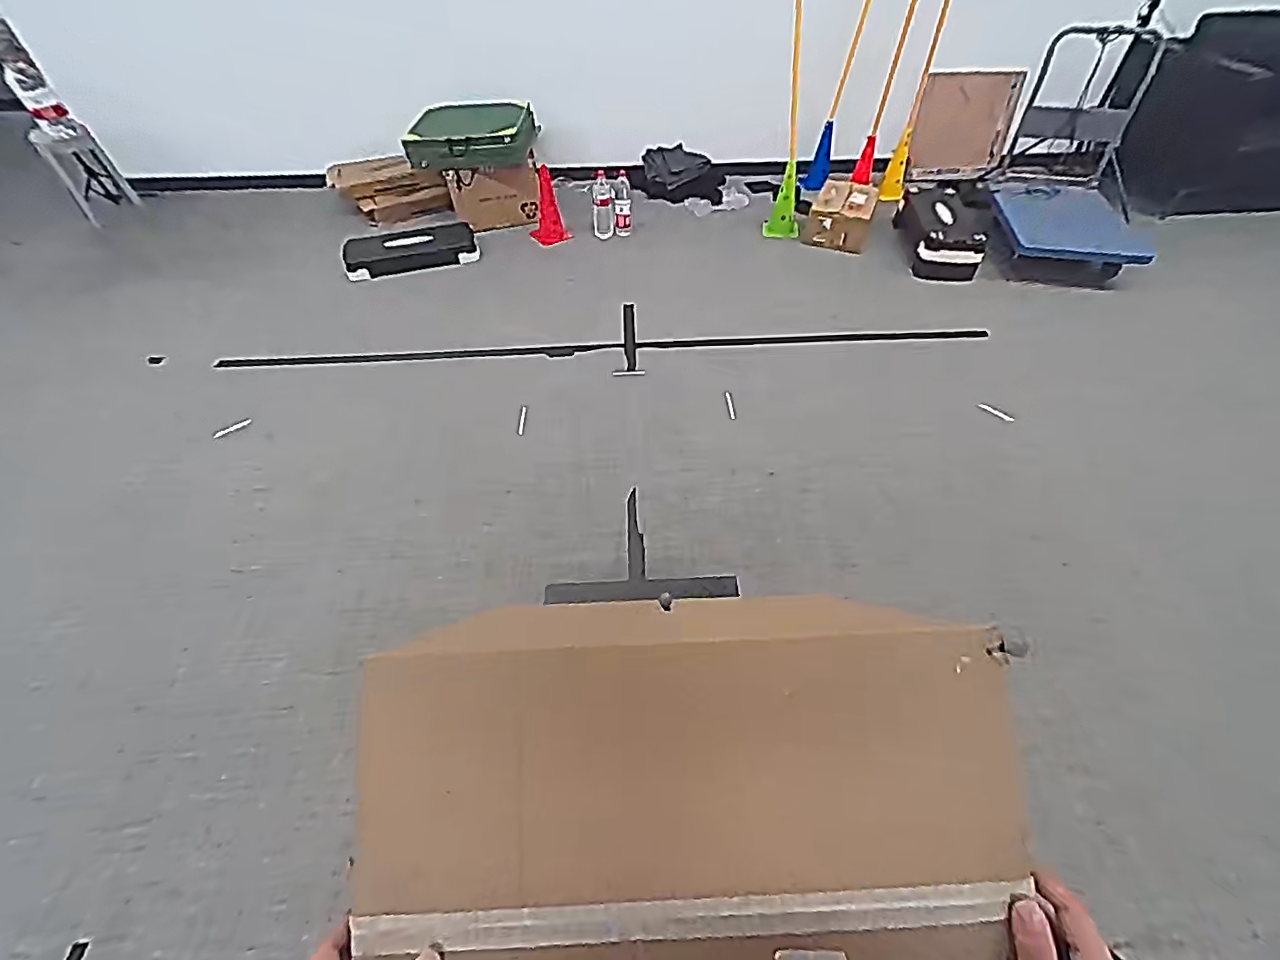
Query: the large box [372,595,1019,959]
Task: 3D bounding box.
[{"bbox_3d":[0.029,0.280,0.483,0.408,0.320,0.320,-3,83,-2],"label":"large box"}]
